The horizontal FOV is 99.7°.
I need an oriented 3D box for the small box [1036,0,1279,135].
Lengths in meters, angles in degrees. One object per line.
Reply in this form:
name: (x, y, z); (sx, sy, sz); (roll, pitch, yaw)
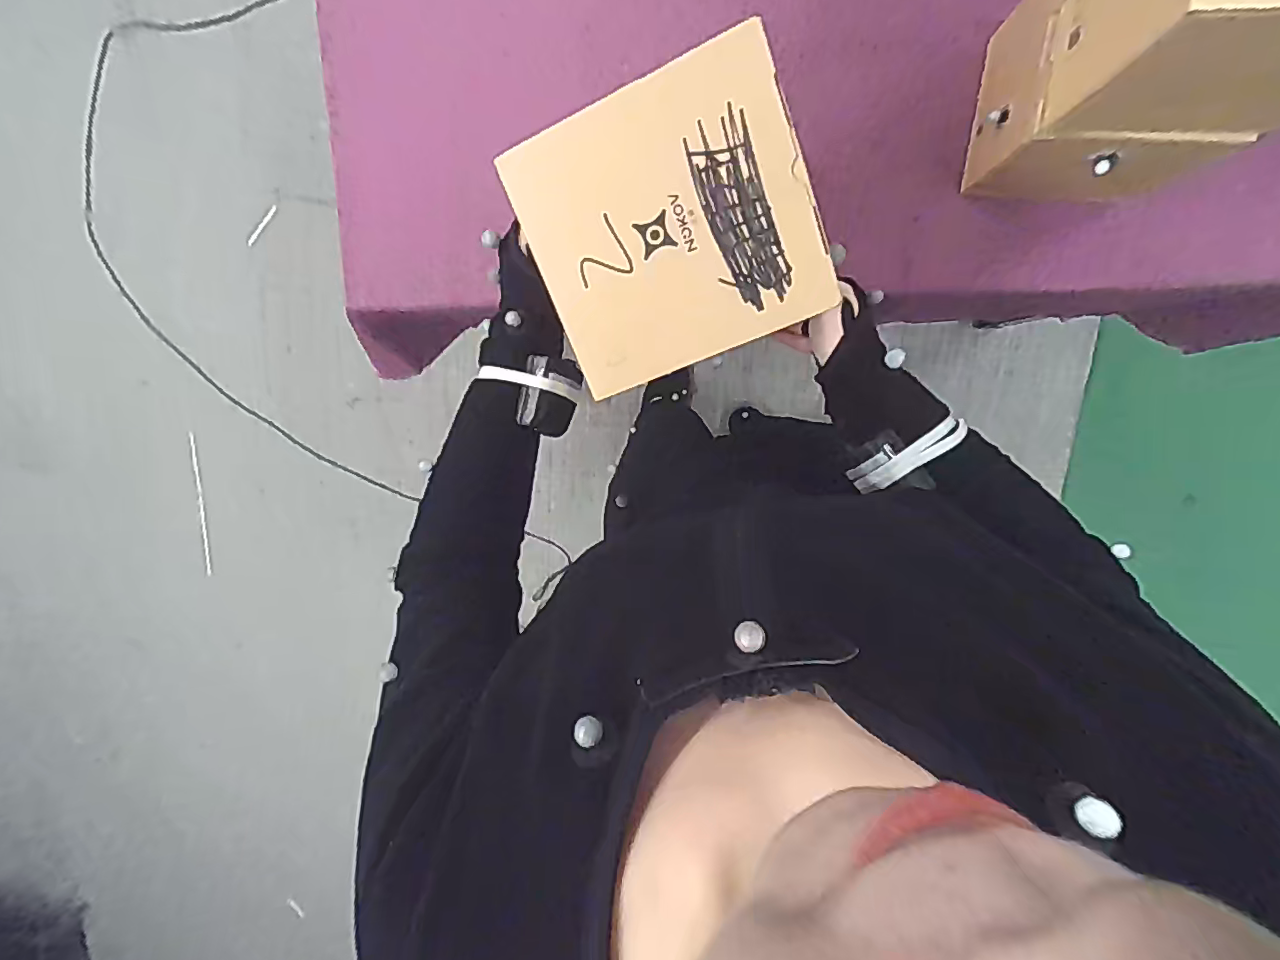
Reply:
small box: (0.423, -0.364, 0.378); (0.179, 0.176, 0.168); (6, 102, 8)

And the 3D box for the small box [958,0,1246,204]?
small box: (0.450, -0.388, 0.536); (0.179, 0.176, 0.168); (8, 102, 8)

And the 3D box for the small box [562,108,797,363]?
small box: (0.047, -0.237, 0.569); (0.179, 0.176, 0.168); (-21, 103, 14)
